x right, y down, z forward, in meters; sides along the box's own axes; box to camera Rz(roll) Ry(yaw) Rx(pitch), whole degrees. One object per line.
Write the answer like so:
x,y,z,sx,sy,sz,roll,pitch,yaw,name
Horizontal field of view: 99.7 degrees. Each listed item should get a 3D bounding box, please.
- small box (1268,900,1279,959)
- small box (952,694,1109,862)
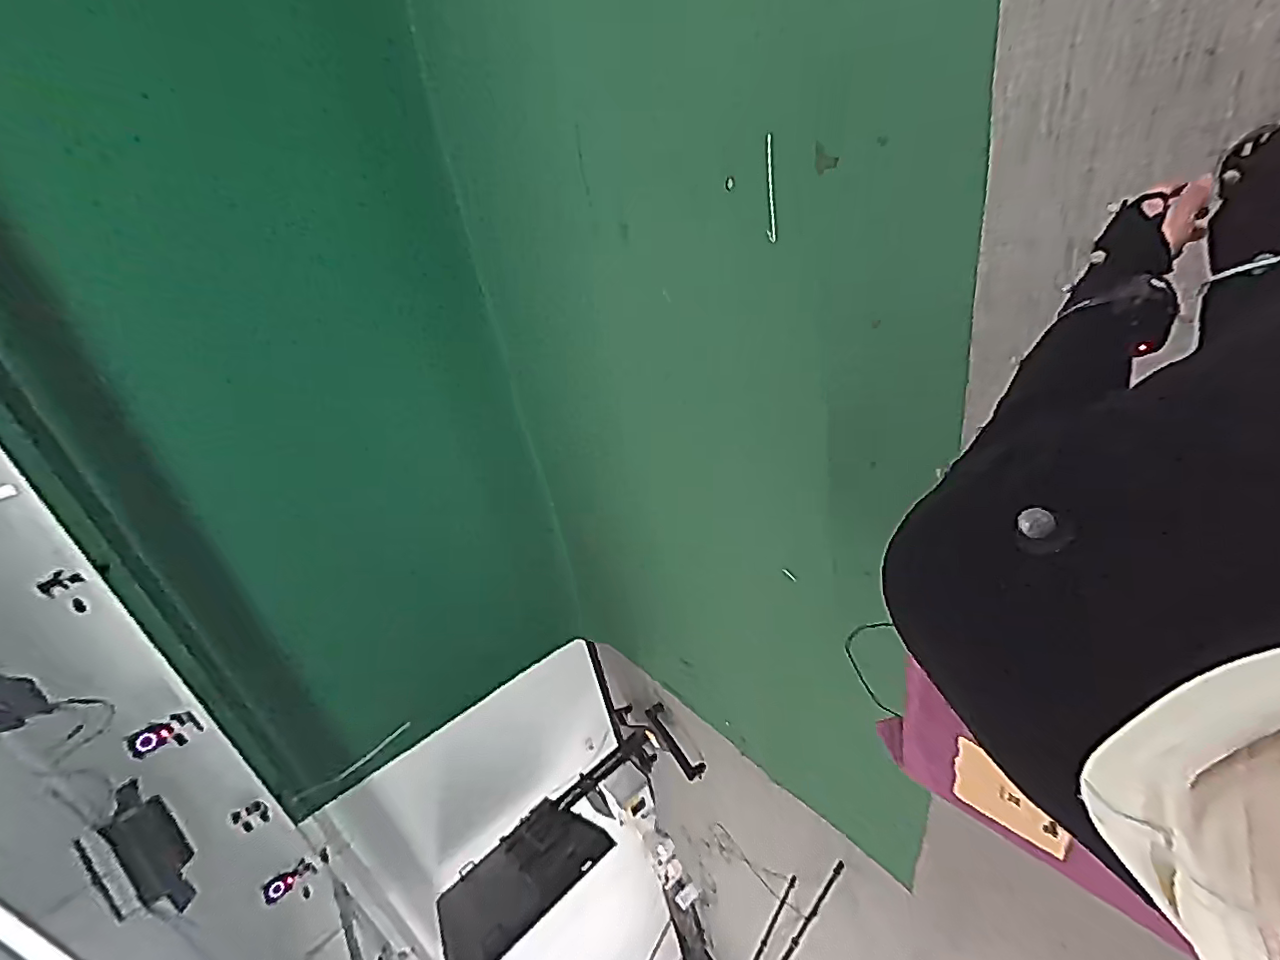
0.942,0.609,0.685,0.168,0.176,0.179,19,129,50,small box
0.700,0.521,0.979,0.179,0.176,0.168,21,130,48,small box
